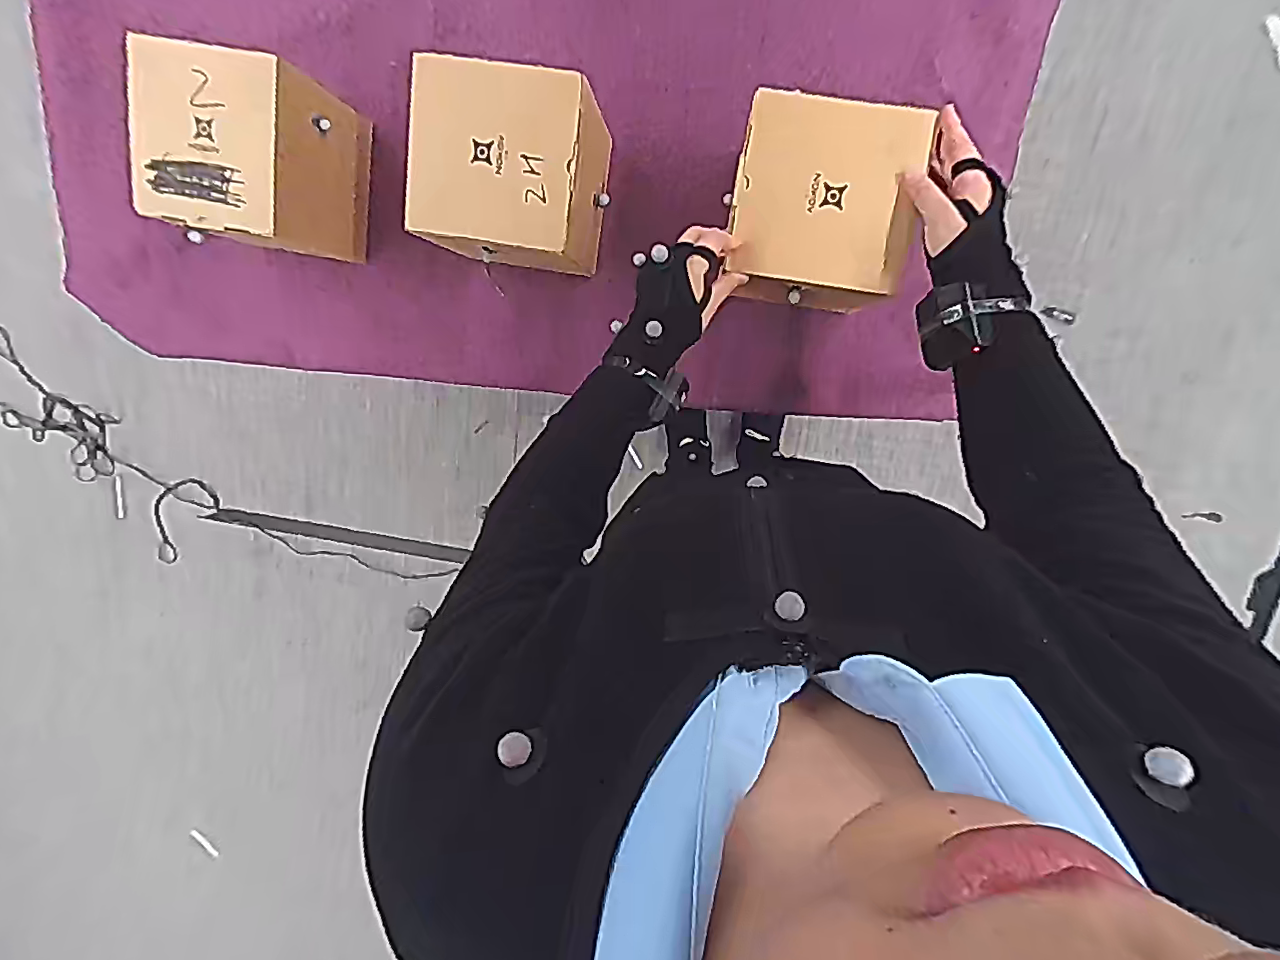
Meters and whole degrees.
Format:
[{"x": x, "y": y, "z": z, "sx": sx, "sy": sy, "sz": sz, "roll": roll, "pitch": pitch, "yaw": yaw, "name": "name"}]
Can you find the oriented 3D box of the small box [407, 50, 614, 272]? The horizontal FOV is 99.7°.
[{"x": -0.137, "y": -0.344, "z": 0.617, "sx": 0.179, "sy": 0.176, "sz": 0.168, "roll": 10, "pitch": 104, "yaw": 4, "name": "small box"}]
